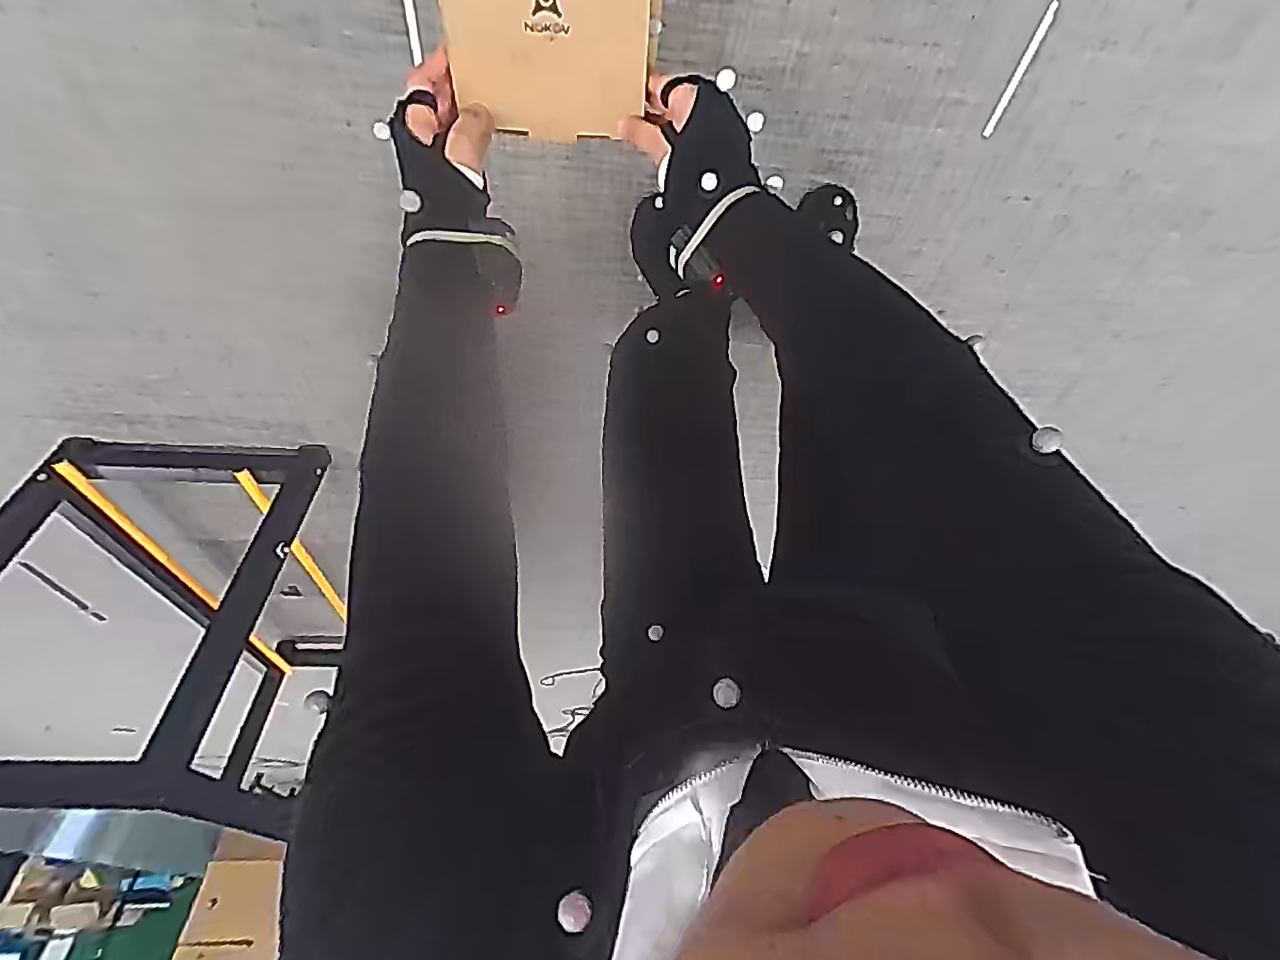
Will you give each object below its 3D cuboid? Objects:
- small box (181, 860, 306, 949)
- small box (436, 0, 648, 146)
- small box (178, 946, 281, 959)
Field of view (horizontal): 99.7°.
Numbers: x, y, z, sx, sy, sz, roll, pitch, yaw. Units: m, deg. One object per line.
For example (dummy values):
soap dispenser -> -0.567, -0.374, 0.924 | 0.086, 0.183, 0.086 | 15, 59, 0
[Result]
small box -> -1.000, 1.086, 1.384 | 0.179, 0.176, 0.168 | 2, 141, -5
small box -> -0.076, -0.427, 0.475 | 0.168, 0.176, 0.179 | 2, 141, -3
small box -> -0.996, 1.213, 1.279 | 0.168, 0.176, 0.179 | 2, 140, -4
